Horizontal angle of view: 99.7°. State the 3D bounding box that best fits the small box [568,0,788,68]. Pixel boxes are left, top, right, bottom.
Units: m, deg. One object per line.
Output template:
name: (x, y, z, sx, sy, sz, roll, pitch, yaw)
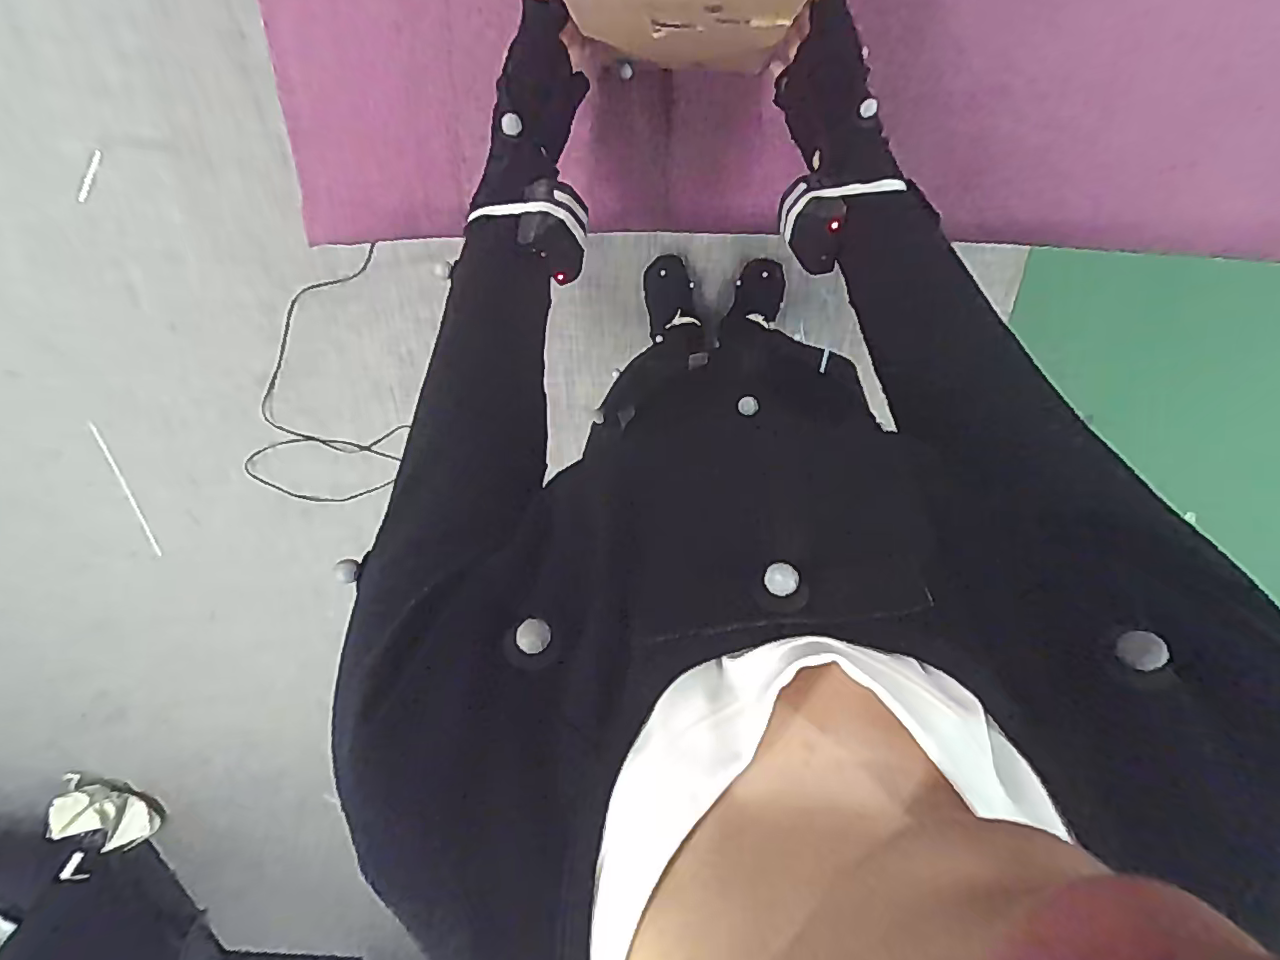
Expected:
small box: (0.037, -0.455, 0.435, 0.168, 0.176, 0.179, 3, 116, 1)
